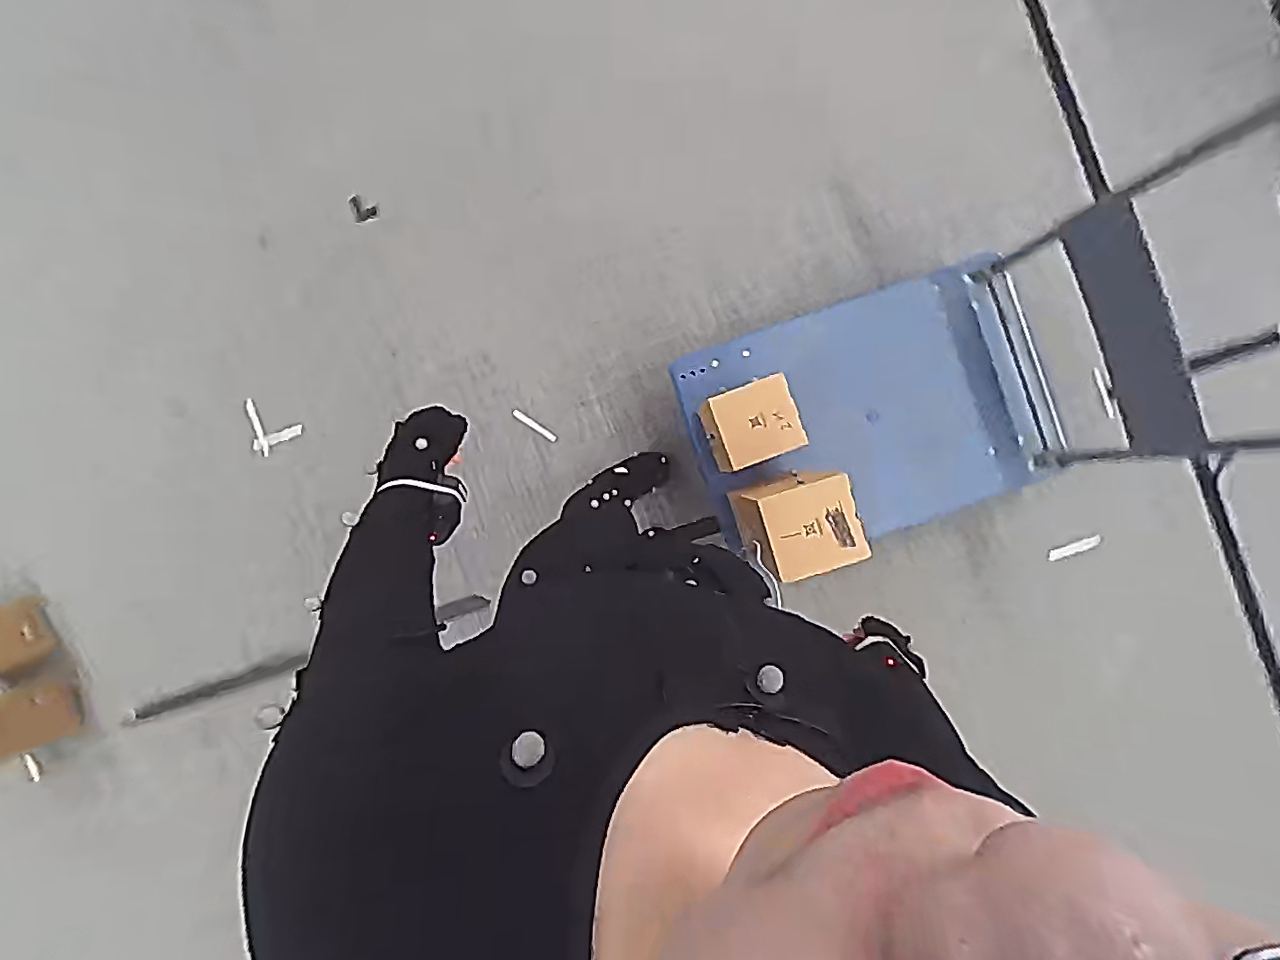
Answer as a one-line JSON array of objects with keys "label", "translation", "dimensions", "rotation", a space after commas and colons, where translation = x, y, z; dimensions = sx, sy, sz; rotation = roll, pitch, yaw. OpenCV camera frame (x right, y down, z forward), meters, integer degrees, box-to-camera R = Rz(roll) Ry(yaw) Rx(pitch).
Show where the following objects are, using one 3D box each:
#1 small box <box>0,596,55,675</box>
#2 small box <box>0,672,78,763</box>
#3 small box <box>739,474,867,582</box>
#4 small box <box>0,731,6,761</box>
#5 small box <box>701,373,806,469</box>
[{"label": "small box", "translation": [-1.685, 0.417, 1.378], "dimensions": [0.179, 0.176, 0.168], "rotation": [-27, 91, -2]}, {"label": "small box", "translation": [-1.608, 0.620, 1.380], "dimensions": [0.179, 0.176, 0.168], "rotation": [-24, 90, -1]}, {"label": "small box", "translation": [0.314, 0.086, 1.074], "dimensions": [0.179, 0.176, 0.168], "rotation": [-17, 91, -1]}, {"label": "small box", "translation": [-1.610, 0.621, 1.216], "dimensions": [0.179, 0.176, 0.168], "rotation": [-28, 90, -2]}, {"label": "small box", "translation": [0.247, -0.126, 1.235], "dimensions": [0.179, 0.176, 0.168], "rotation": [-20, 92, -2]}]
